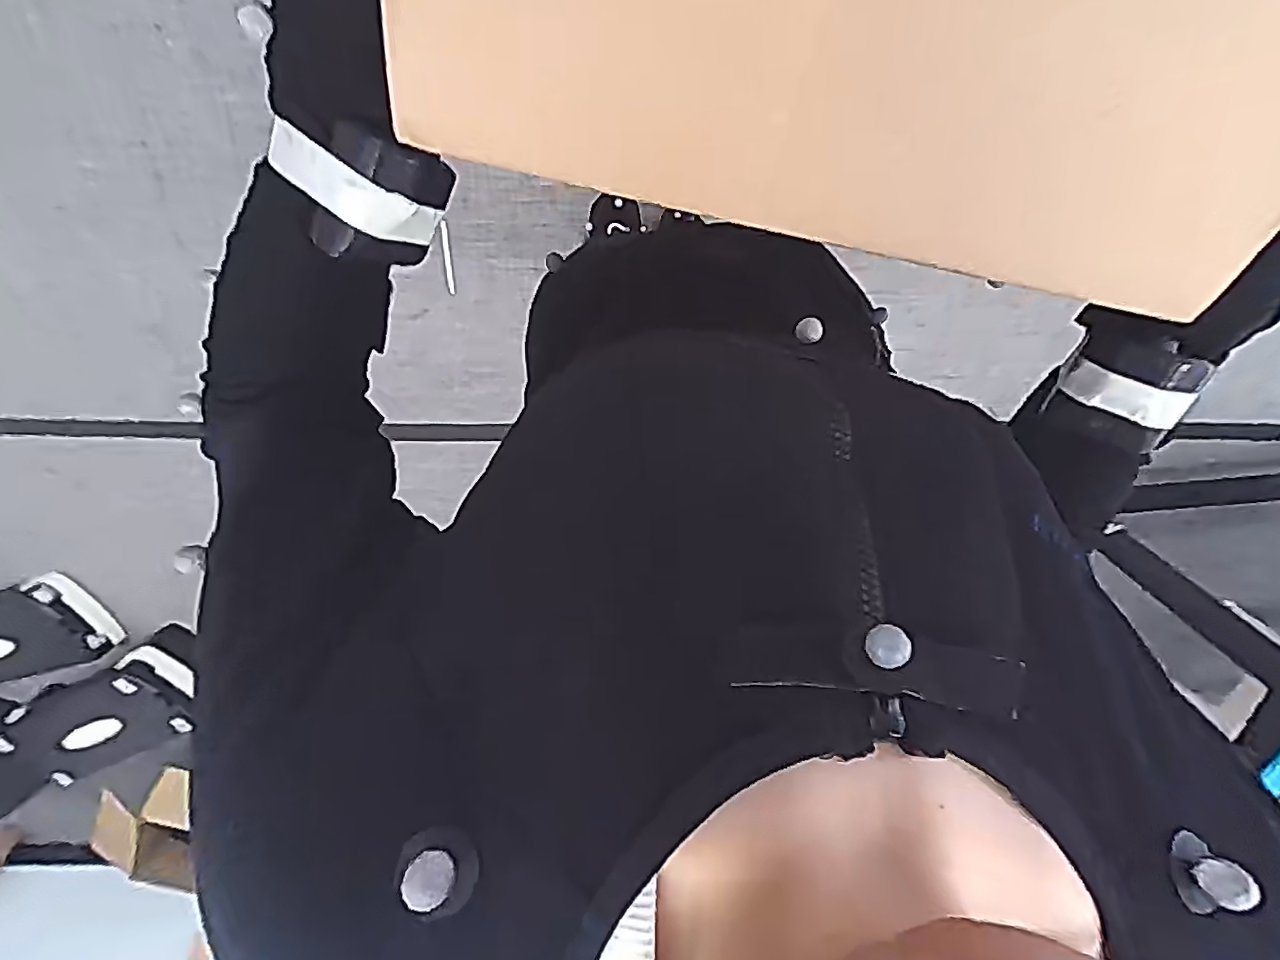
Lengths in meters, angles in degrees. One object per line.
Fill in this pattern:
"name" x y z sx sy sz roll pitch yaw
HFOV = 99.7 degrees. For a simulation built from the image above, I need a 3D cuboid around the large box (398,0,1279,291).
"large box" 0.121 -0.338 0.280 0.408 0.320 0.320 9 130 -7
